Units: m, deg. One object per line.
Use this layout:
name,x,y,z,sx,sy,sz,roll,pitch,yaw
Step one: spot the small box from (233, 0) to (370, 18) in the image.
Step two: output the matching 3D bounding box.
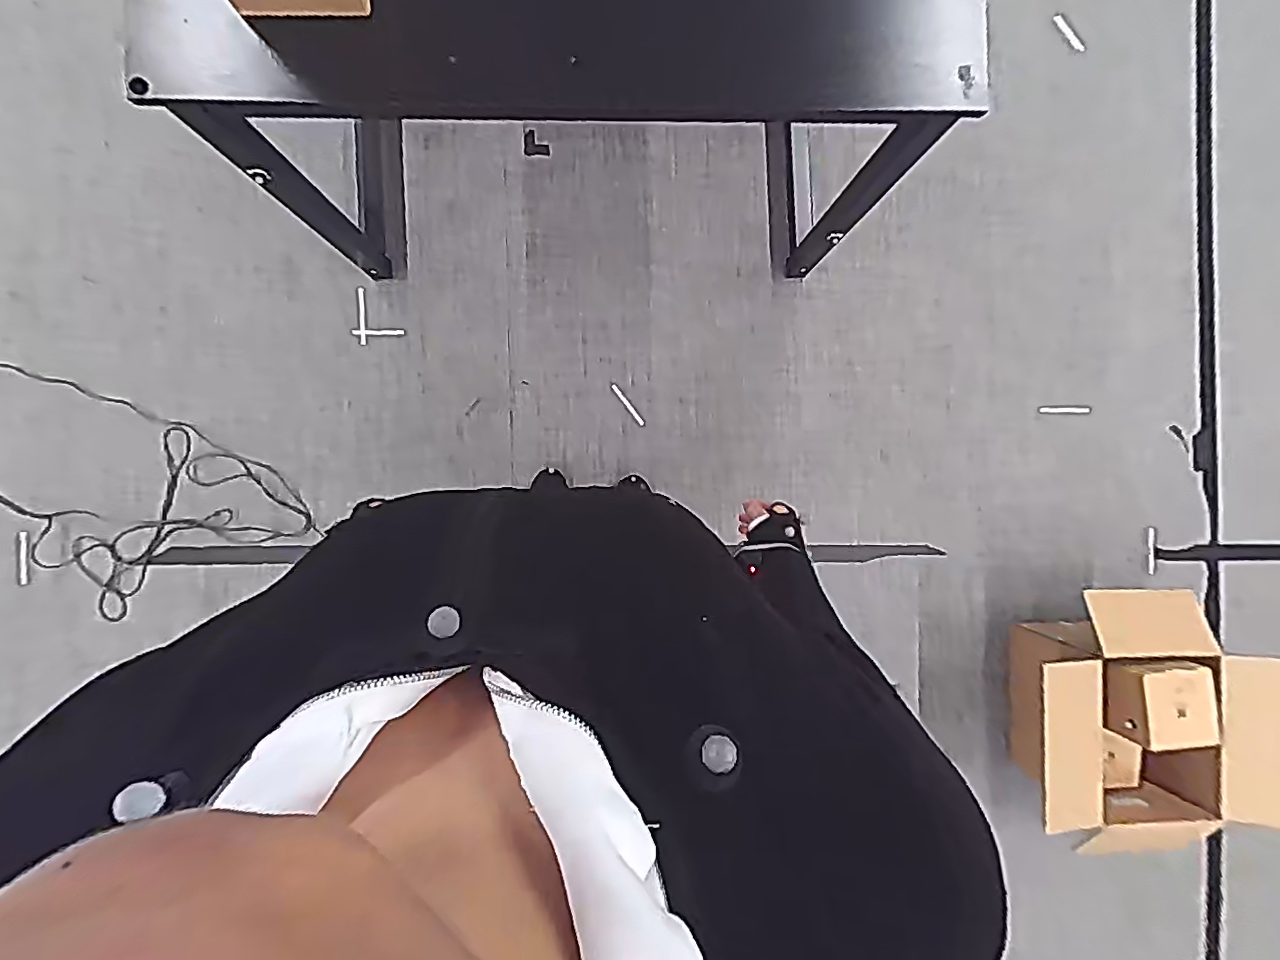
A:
small box,-0.459,-0.714,0.661,0.179,0.176,0.168,-3,91,-3
